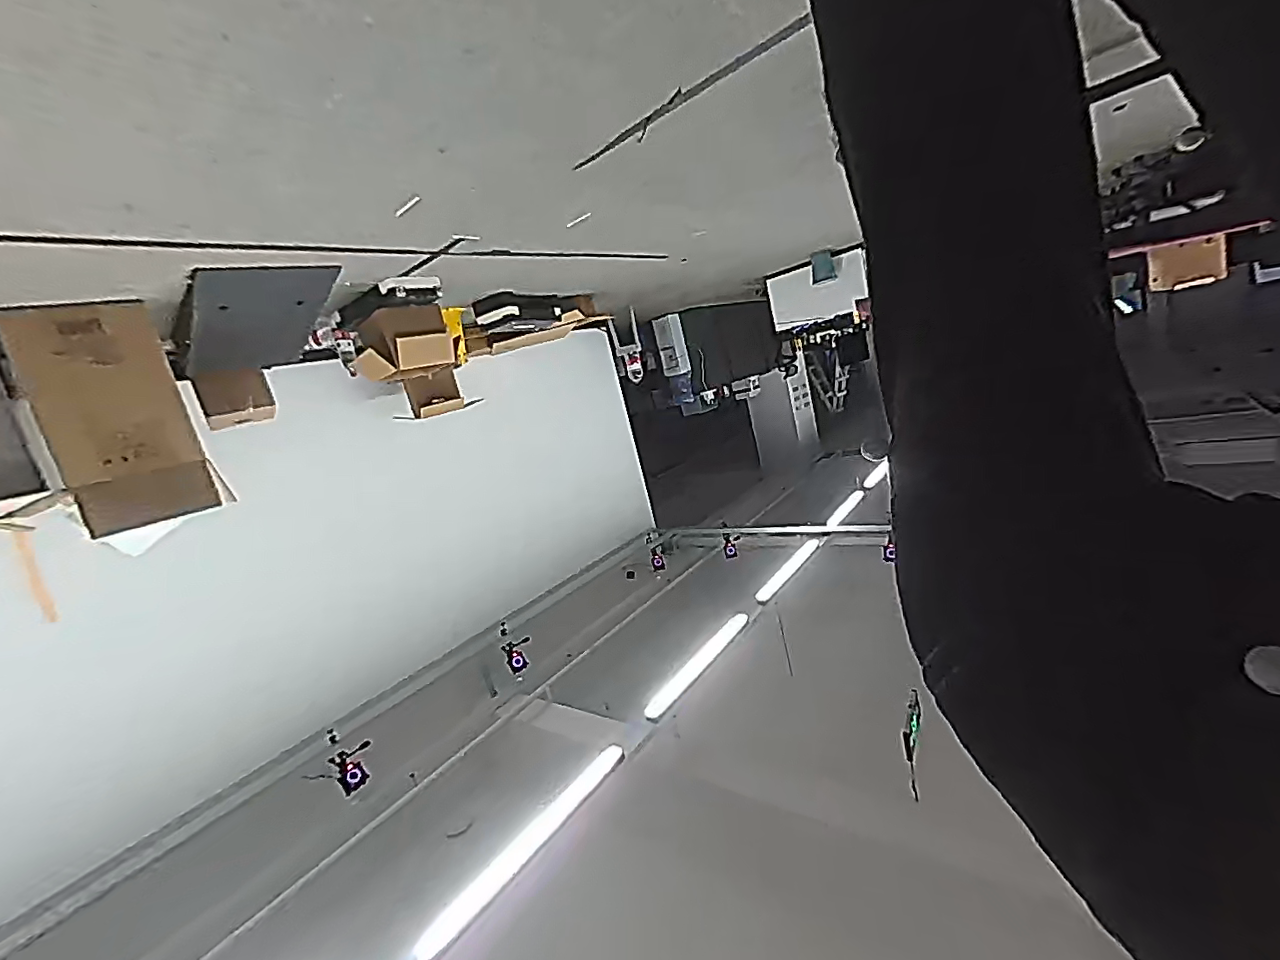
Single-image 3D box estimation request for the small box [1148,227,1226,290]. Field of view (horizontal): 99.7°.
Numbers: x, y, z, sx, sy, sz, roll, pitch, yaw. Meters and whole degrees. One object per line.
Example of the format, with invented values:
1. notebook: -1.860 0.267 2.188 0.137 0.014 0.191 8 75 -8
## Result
1. small box: 1.969 -0.799 1.955 0.168 0.176 0.179 -7 -167 33
